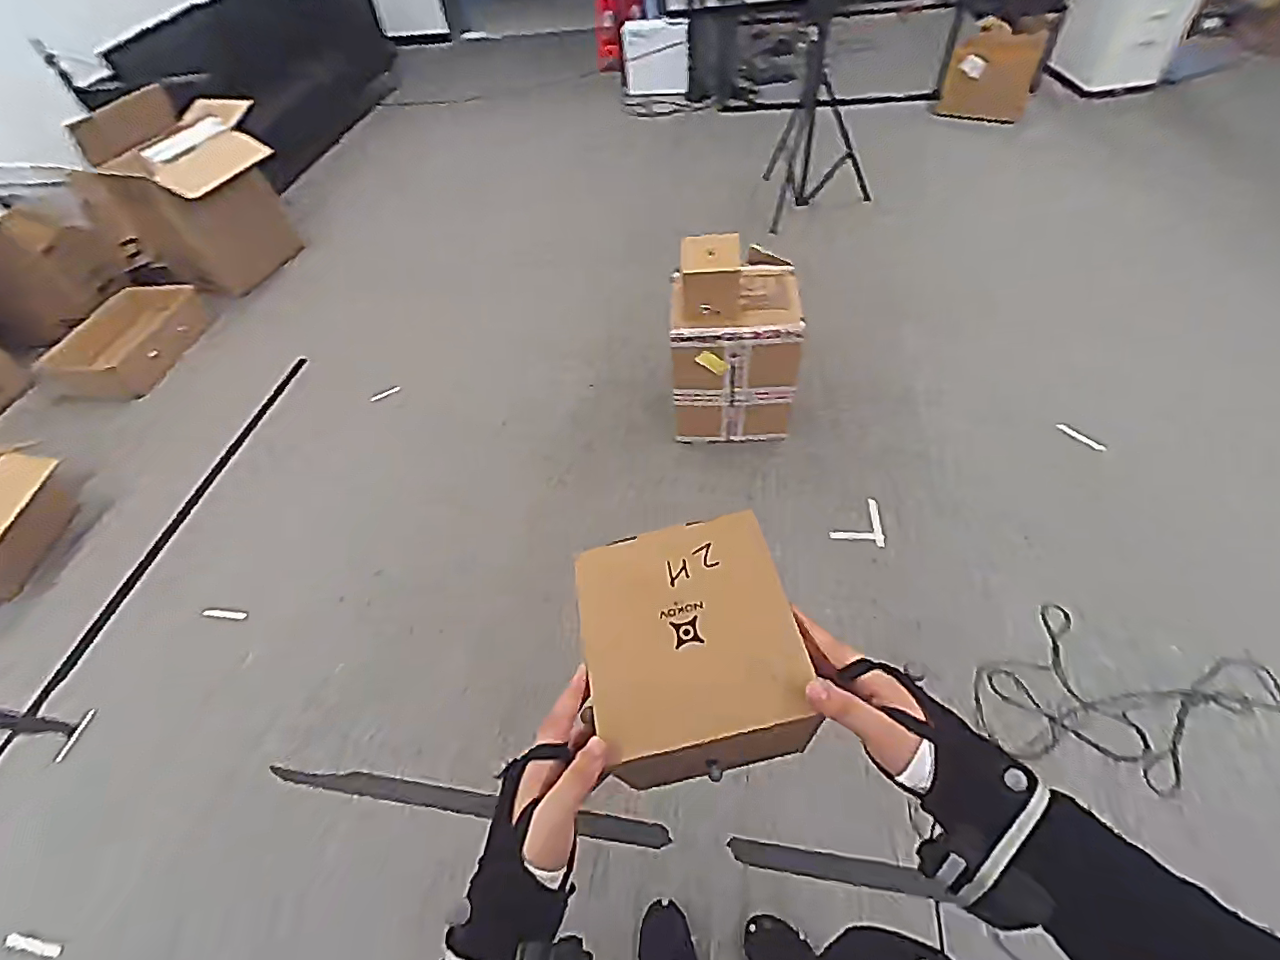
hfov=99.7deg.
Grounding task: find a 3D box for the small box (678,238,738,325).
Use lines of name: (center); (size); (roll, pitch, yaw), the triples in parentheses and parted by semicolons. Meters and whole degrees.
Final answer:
small box: (0.200, -0.583, 1.593); (0.168, 0.176, 0.179); (-2, 57, 8)
